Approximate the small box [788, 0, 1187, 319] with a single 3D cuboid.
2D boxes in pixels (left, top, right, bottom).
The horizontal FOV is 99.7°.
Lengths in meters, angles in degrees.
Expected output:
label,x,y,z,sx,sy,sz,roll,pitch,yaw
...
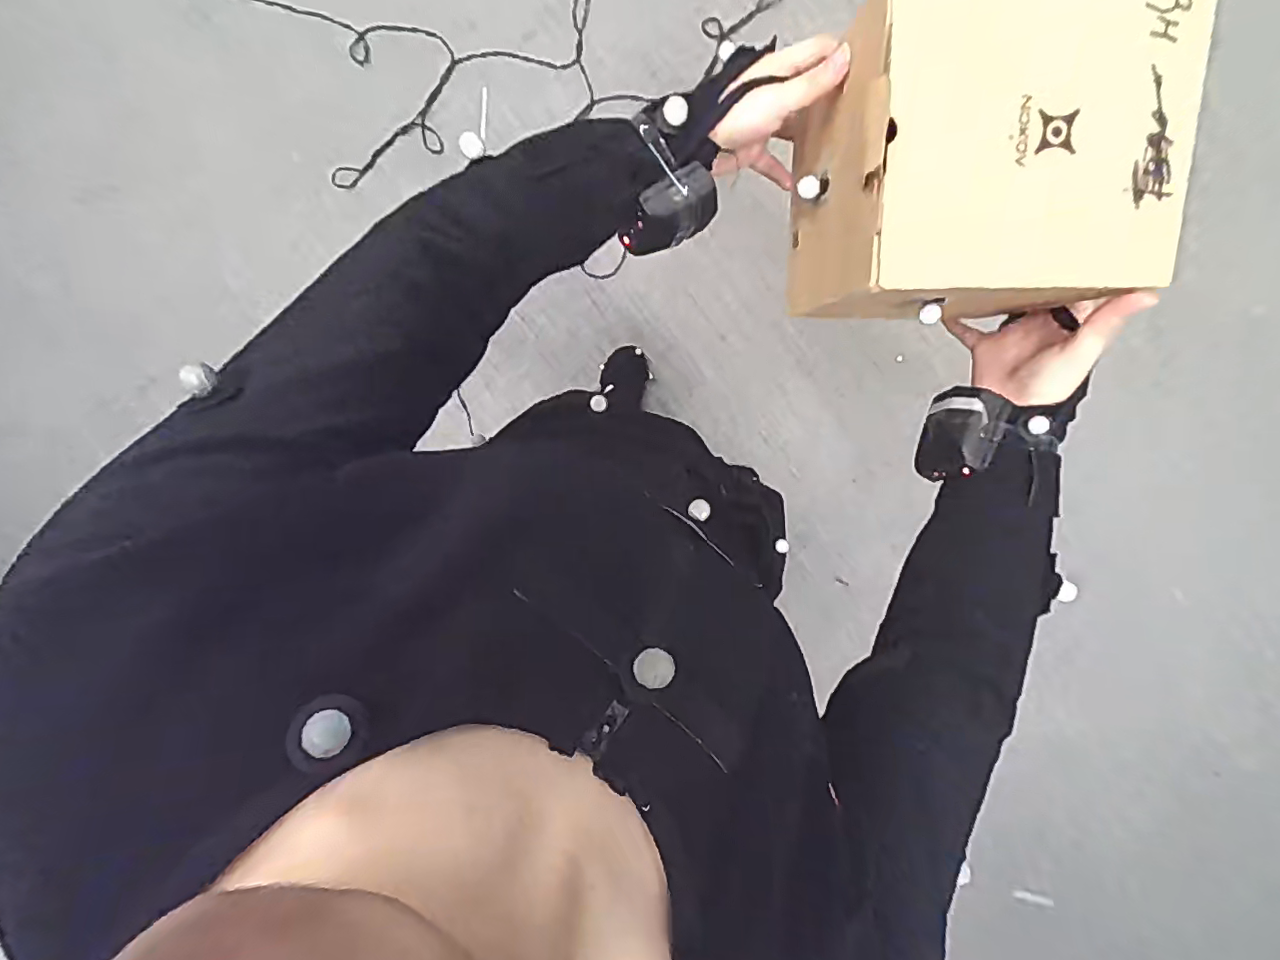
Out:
label,x,y,z,sx,sy,sz,roll,pitch,yaw
small box,0.211,-0.209,0.384,0.179,0.176,0.168,-2,101,0
